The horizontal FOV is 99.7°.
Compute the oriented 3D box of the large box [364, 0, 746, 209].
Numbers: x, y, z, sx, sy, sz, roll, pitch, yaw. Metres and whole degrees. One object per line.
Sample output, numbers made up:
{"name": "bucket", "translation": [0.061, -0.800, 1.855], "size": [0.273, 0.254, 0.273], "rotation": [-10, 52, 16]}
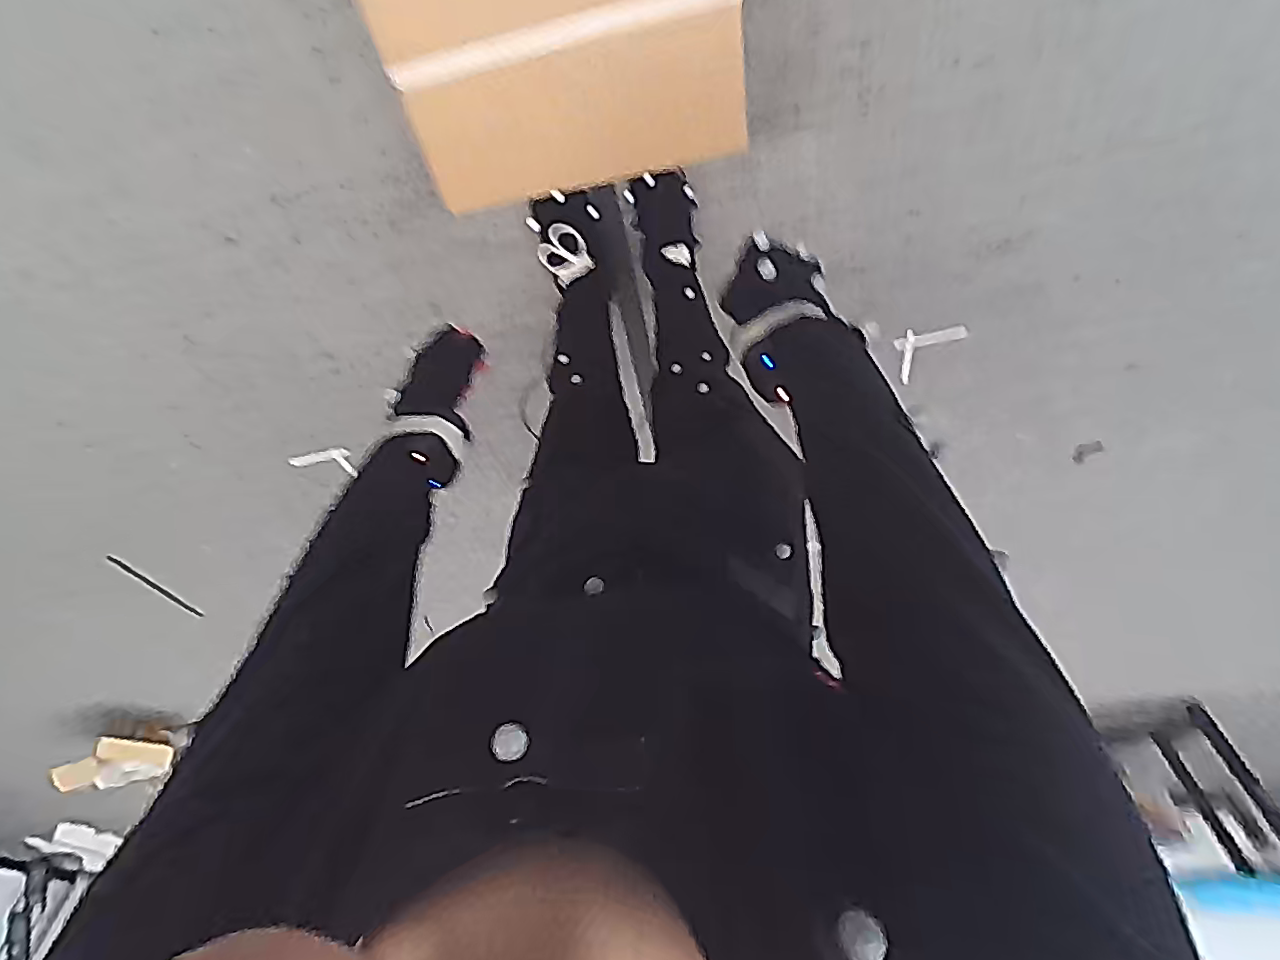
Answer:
{"name": "large box", "translation": [-0.092, -0.606, 0.706], "size": [0.408, 0.320, 0.320], "rotation": [-8, 136, 8]}
